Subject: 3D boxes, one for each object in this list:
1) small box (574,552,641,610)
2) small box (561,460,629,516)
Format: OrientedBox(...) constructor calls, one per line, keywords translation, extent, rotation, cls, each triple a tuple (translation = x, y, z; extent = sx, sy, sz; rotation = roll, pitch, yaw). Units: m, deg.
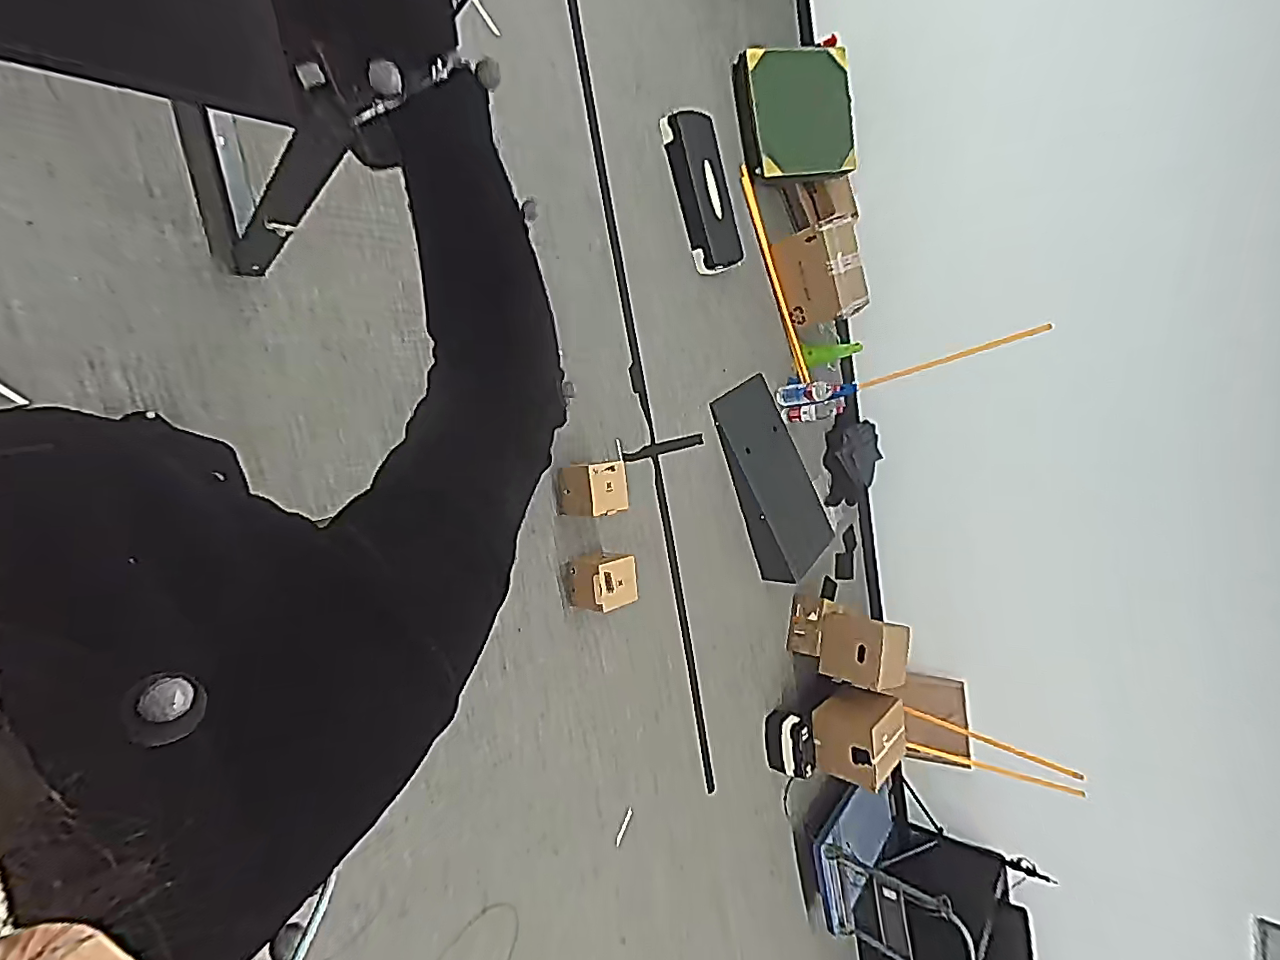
OrientedBox(translation=(-0.123, 0.354, 1.923), extent=(0.179, 0.176, 0.168), rotation=(-9, 95, -46), cls="small box")
OrientedBox(translation=(-0.158, 0.025, 1.898), extent=(0.168, 0.176, 0.179), rotation=(-10, 96, -45), cls="small box")
